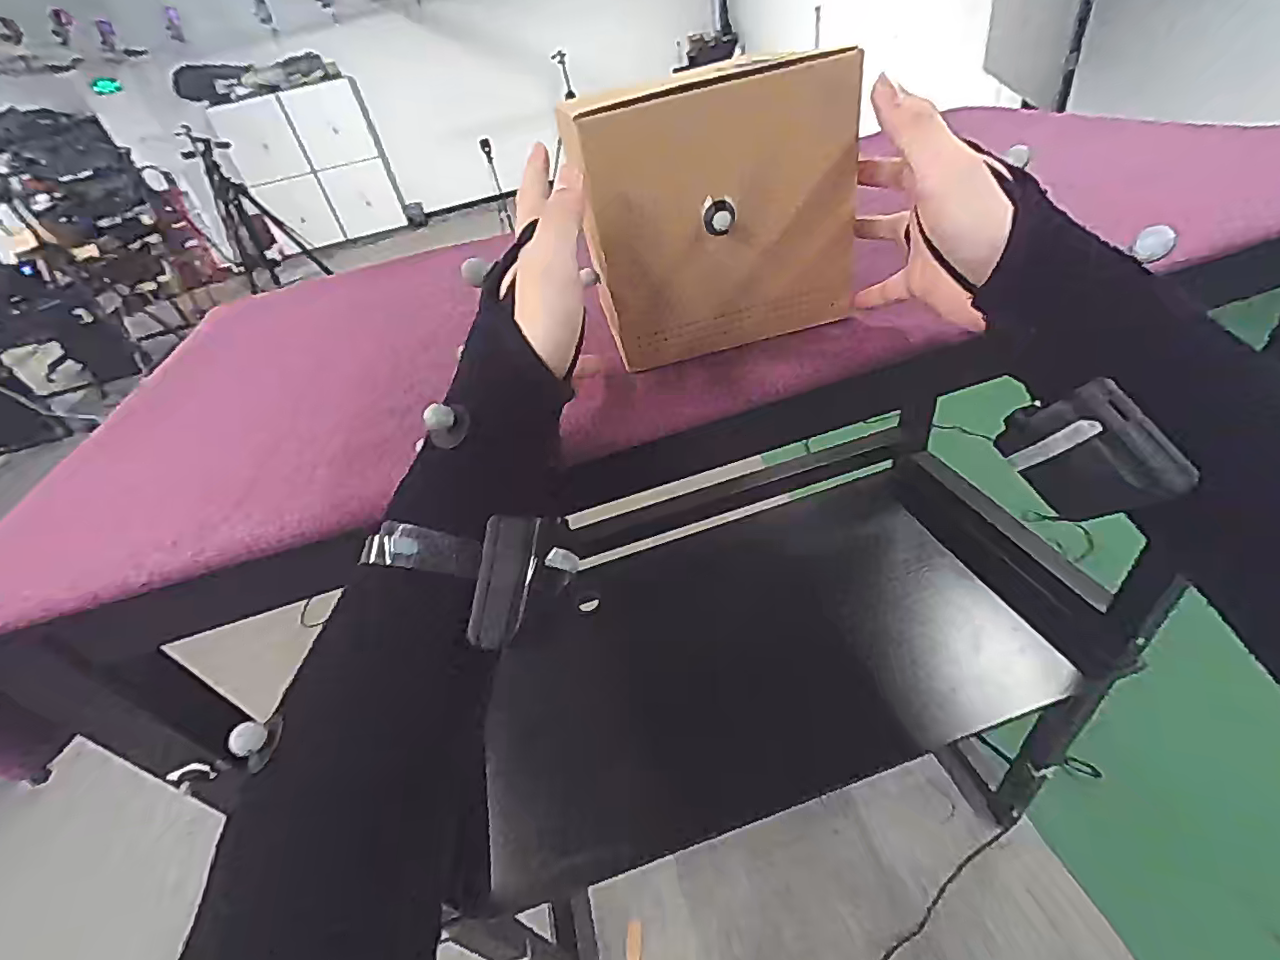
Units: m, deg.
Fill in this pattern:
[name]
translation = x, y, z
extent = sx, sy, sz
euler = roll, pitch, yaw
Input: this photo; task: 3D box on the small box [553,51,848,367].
[small box]
translation = 0.041, -0.213, 0.426
extent = 0.179, 0.176, 0.168
euler = -15, 38, 0
